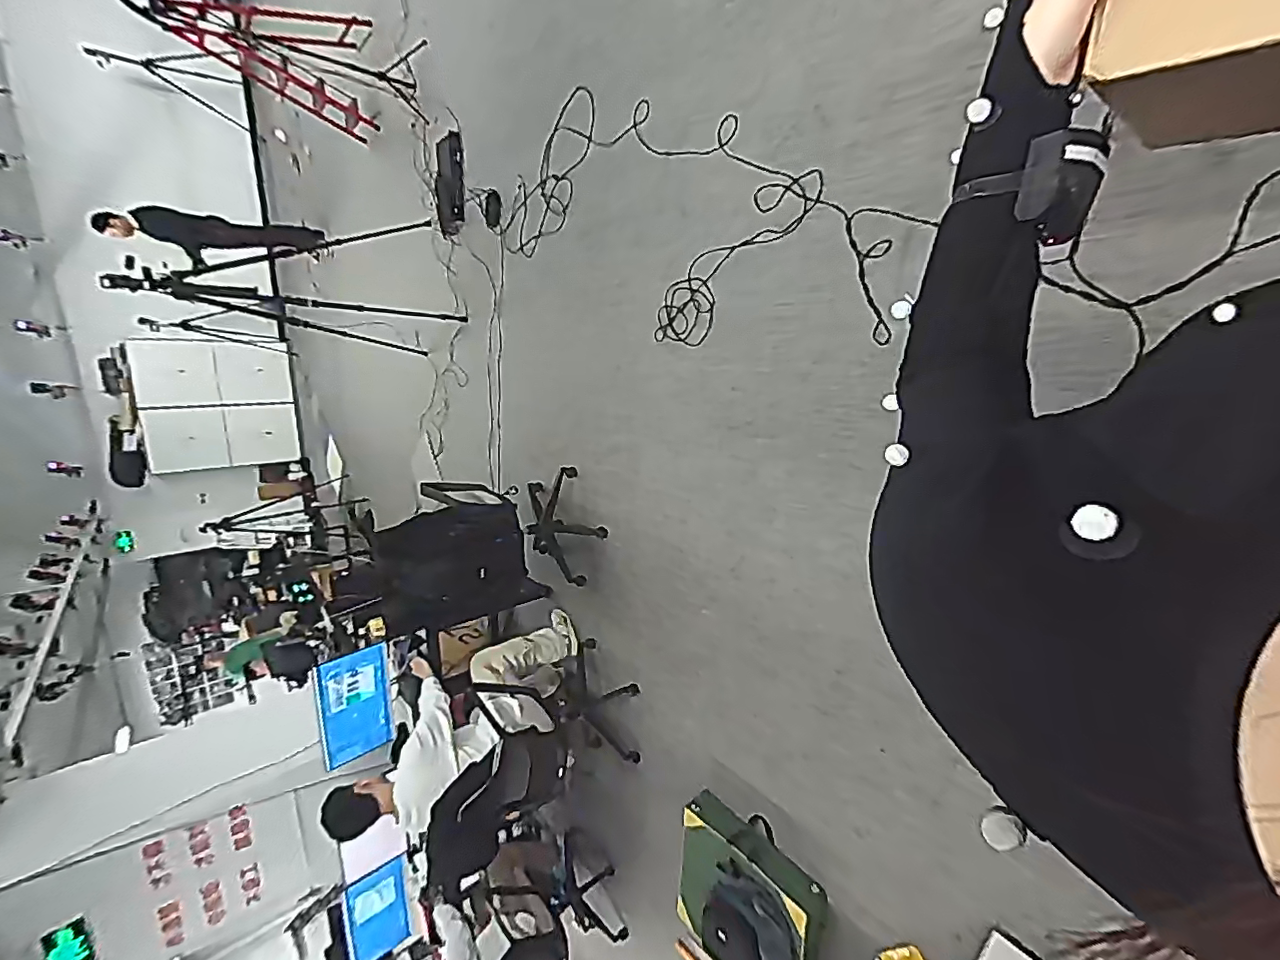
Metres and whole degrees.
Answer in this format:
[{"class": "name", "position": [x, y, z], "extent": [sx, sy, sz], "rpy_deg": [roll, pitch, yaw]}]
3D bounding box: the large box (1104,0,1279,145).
[{"class": "large box", "position": [0.560, -0.424, 0.295], "extent": [0.408, 0.320, 0.320], "rpy_deg": [16, 116, 43]}]
